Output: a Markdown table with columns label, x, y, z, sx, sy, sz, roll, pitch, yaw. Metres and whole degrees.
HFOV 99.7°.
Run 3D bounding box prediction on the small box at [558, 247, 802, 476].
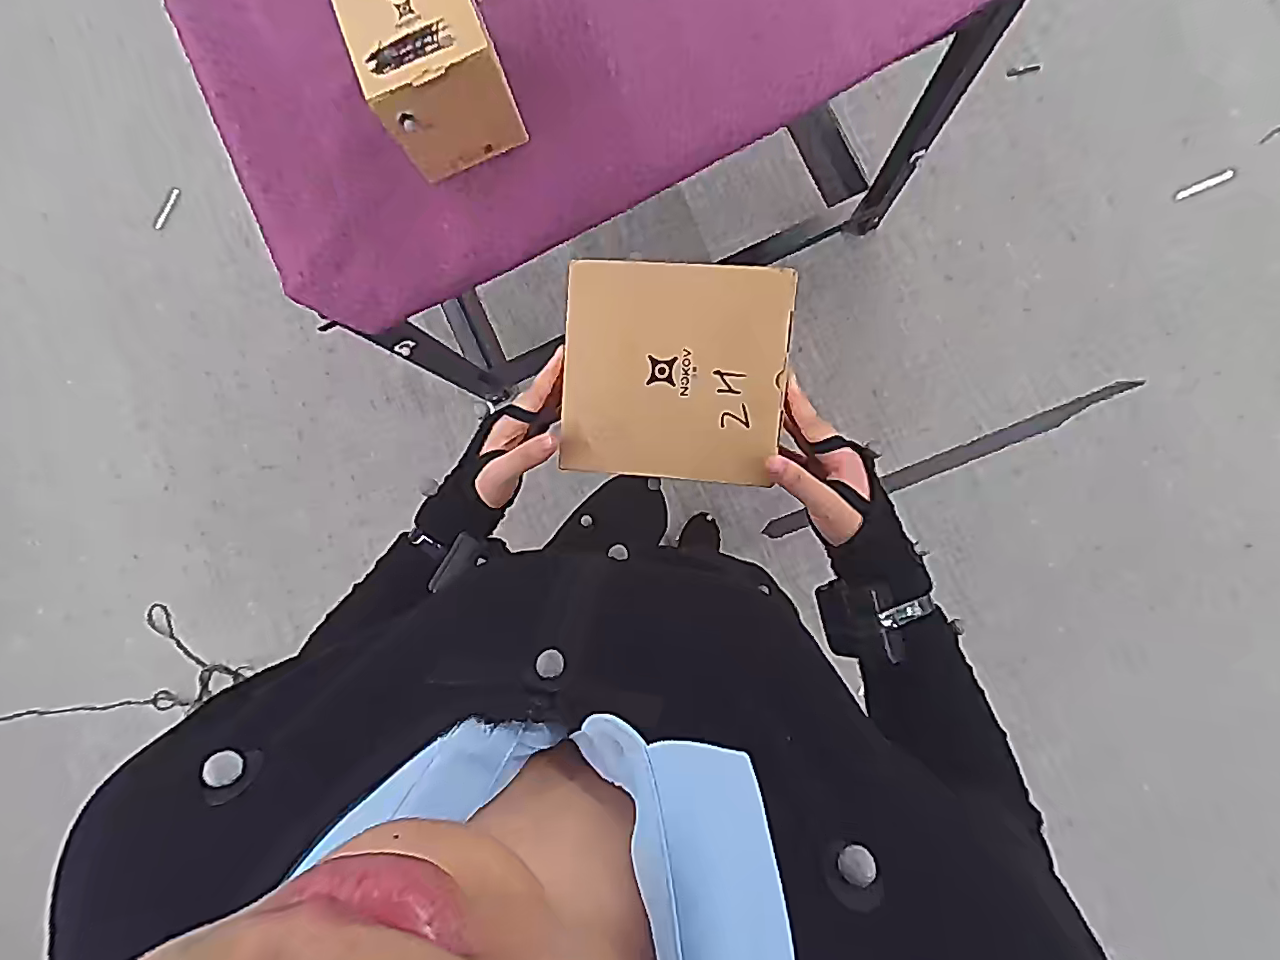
| label | x | y | z | sx | sy | sz | roll | pitch | yaw |
| --- | --- | --- | --- | --- | --- | --- | --- | --- | --- |
| small box | 0.036 | -0.099 | 0.495 | 0.179 | 0.176 | 0.168 | 6 | 97 | 6 |
